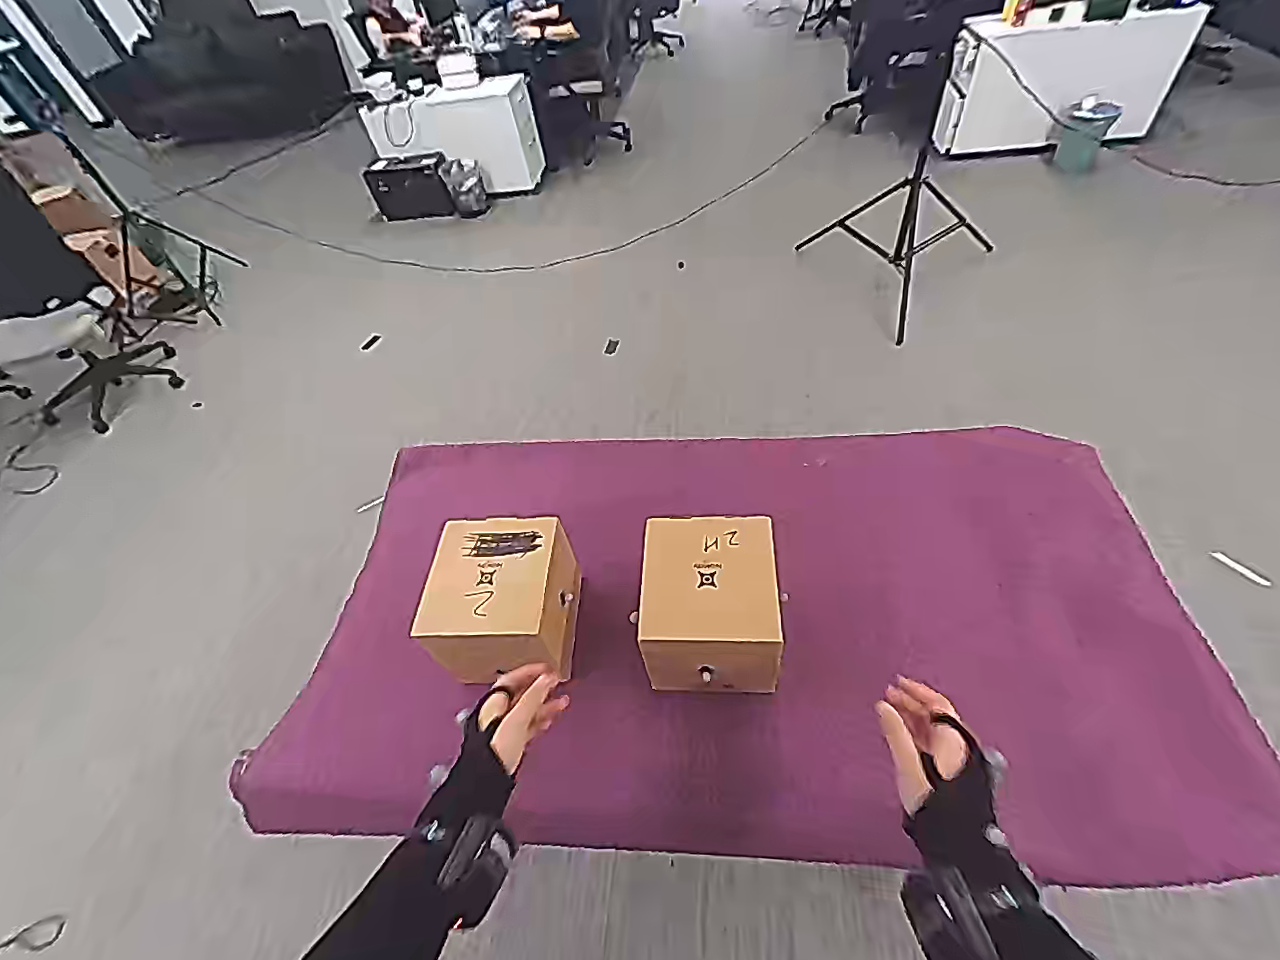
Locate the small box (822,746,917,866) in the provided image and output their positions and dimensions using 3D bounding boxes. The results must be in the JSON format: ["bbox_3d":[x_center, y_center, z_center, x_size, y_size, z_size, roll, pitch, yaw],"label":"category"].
[{"bbox_3d":[0.491,0.709,1.171,0.168,0.176,0.179,7,51,15],"label":"small box"}]

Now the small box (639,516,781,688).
[{"bbox_3d":[0.097,0.166,0.731,0.168,0.176,0.179,-1,49,8],"label":"small box"}]
